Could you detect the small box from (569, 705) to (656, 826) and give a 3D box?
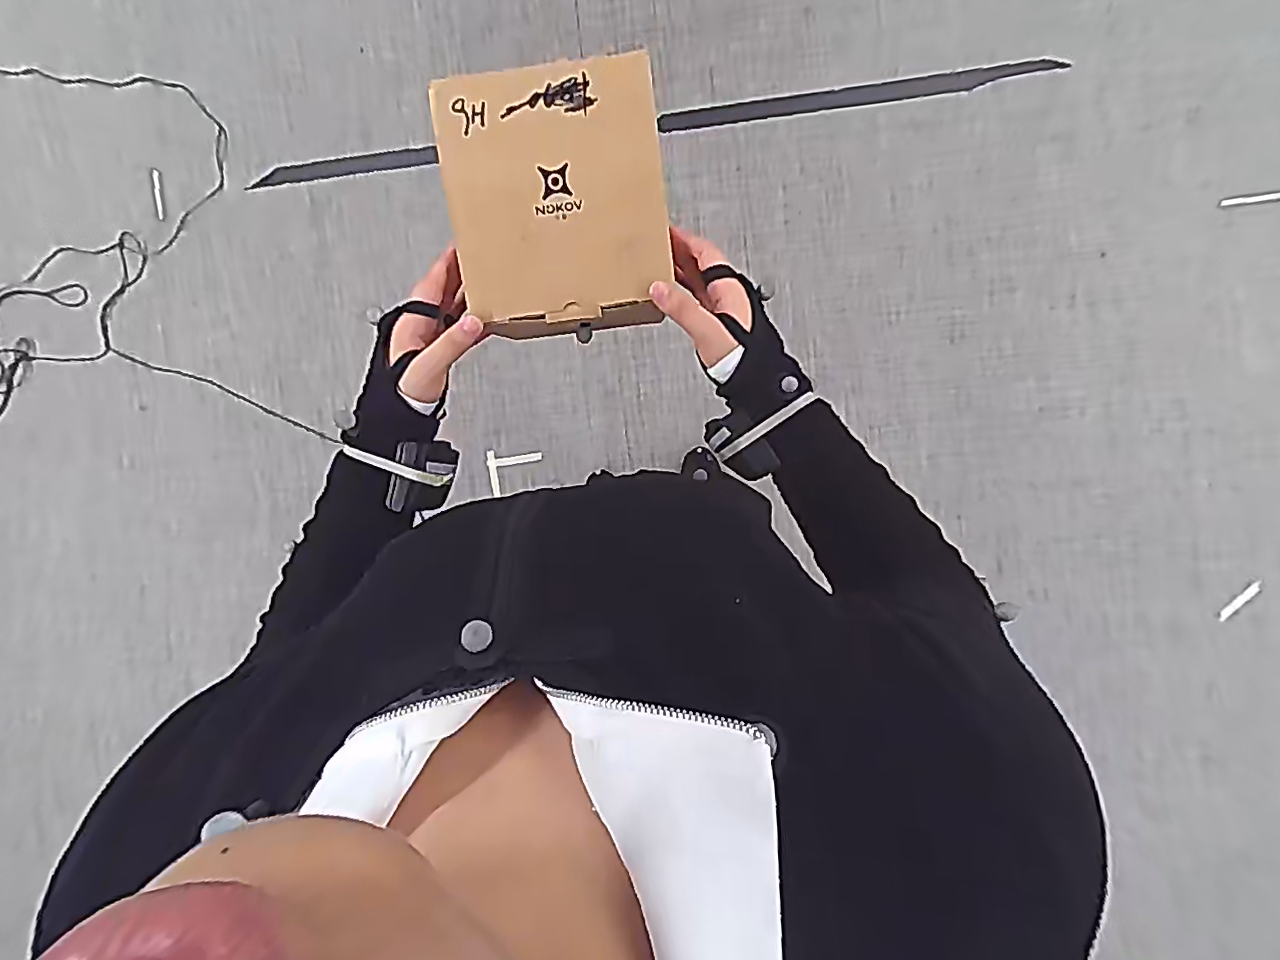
[{"bbox_3d":[-0.054,0.614,1.176,0.168,0.176,0.179,-3,93,4],"label":"small box"}]

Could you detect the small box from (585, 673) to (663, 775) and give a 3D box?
[{"bbox_3d":[-0.033,0.602,1.339,0.168,0.176,0.179,-7,93,4],"label":"small box"}]
